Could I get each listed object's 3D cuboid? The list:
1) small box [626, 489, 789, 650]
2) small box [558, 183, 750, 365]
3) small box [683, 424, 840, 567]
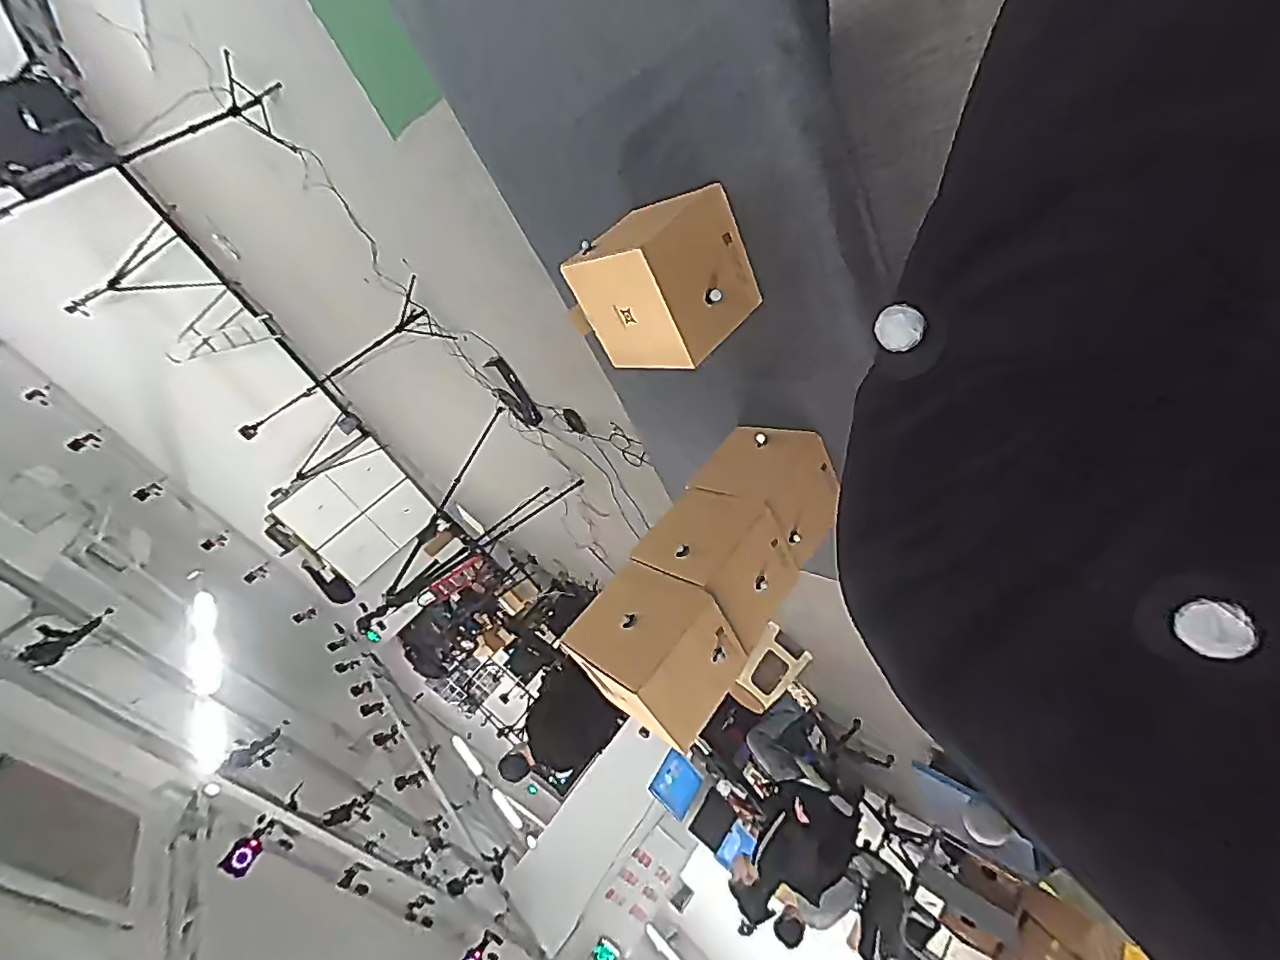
[{"bbox_3d":[0.116,0.134,0.868,0.179,0.176,0.168,12,141,49],"label":"small box"},{"bbox_3d":[0.028,-0.275,0.740,0.179,0.176,0.168,14,144,48],"label":"small box"},{"bbox_3d":[0.213,0.018,0.936,0.179,0.176,0.168,12,141,50],"label":"small box"}]
